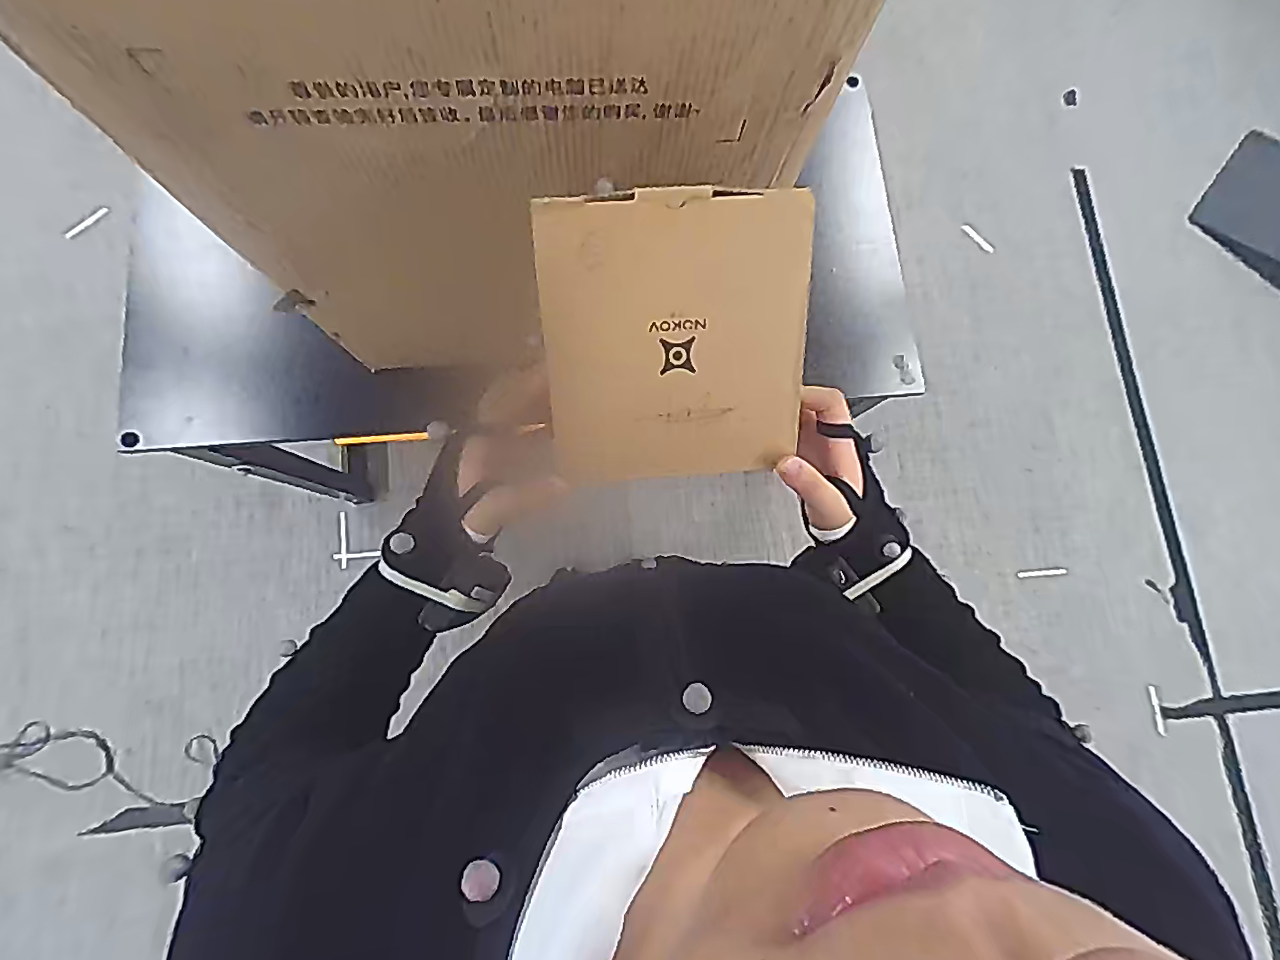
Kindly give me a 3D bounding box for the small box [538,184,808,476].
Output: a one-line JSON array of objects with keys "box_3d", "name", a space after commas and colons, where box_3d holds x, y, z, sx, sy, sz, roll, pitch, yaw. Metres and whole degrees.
[{"box_3d": [0.015, -0.117, 0.419, 0.168, 0.176, 0.179, -4, 112, -4], "name": "small box"}]
